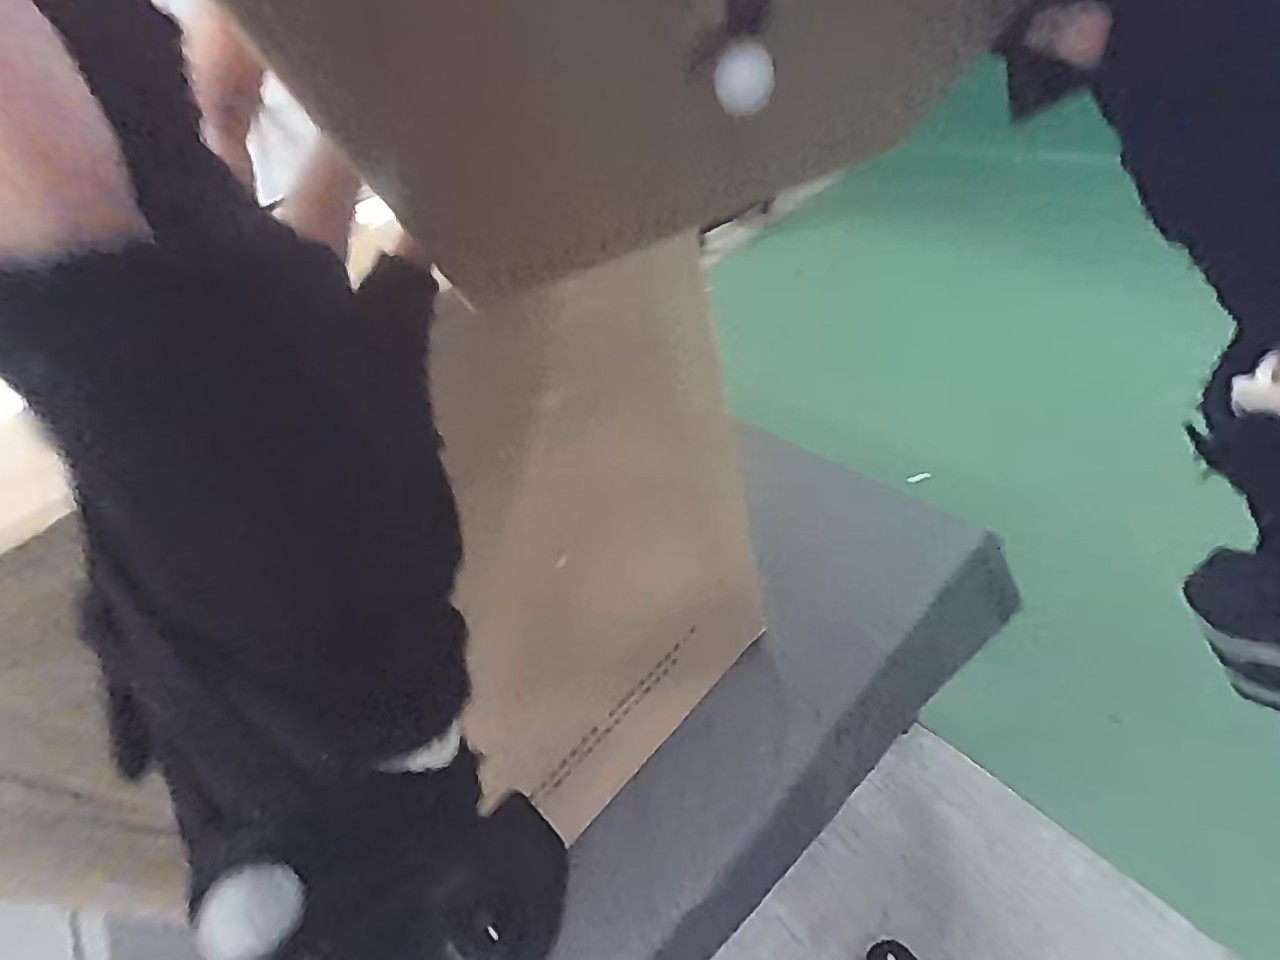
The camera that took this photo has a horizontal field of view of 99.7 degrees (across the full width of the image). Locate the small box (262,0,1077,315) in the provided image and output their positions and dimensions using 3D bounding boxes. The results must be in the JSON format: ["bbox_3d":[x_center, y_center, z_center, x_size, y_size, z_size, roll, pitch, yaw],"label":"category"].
[{"bbox_3d":[0.003,-0.164,0.138,0.179,0.168,0.176,-20,2,-2],"label":"small box"}]
